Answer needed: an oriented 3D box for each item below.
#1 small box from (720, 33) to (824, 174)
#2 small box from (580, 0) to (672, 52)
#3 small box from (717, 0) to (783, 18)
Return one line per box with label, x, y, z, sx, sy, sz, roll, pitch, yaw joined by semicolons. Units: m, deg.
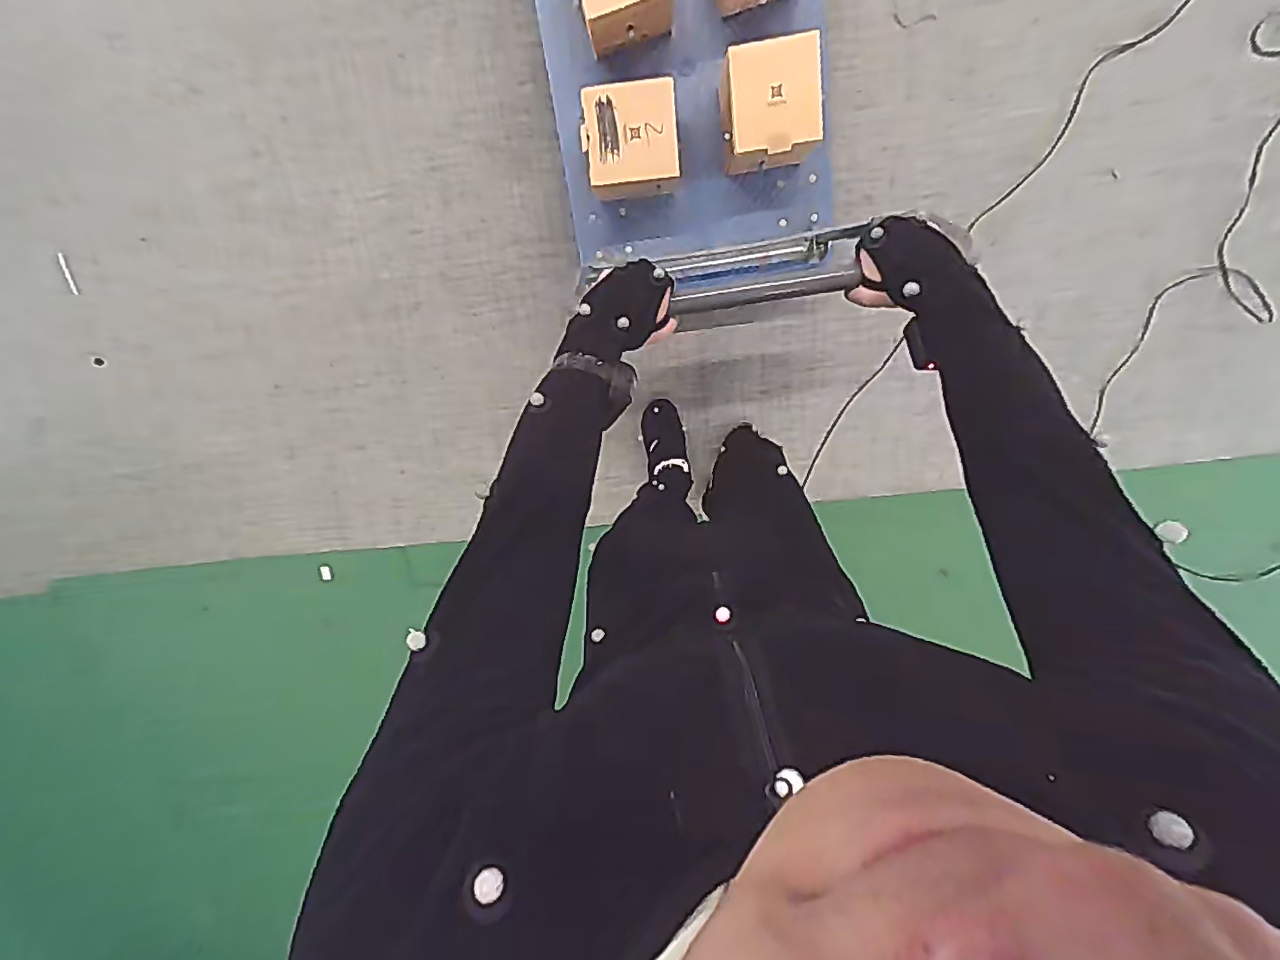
small box;0.255;-0.734;1.072;0.168;0.176;0.179;-8;109;4
small box;-0.037;-0.942;1.009;0.168;0.176;0.179;-15;107;5
small box;0.215;-1.003;0.983;0.168;0.176;0.179;-14;108;7
